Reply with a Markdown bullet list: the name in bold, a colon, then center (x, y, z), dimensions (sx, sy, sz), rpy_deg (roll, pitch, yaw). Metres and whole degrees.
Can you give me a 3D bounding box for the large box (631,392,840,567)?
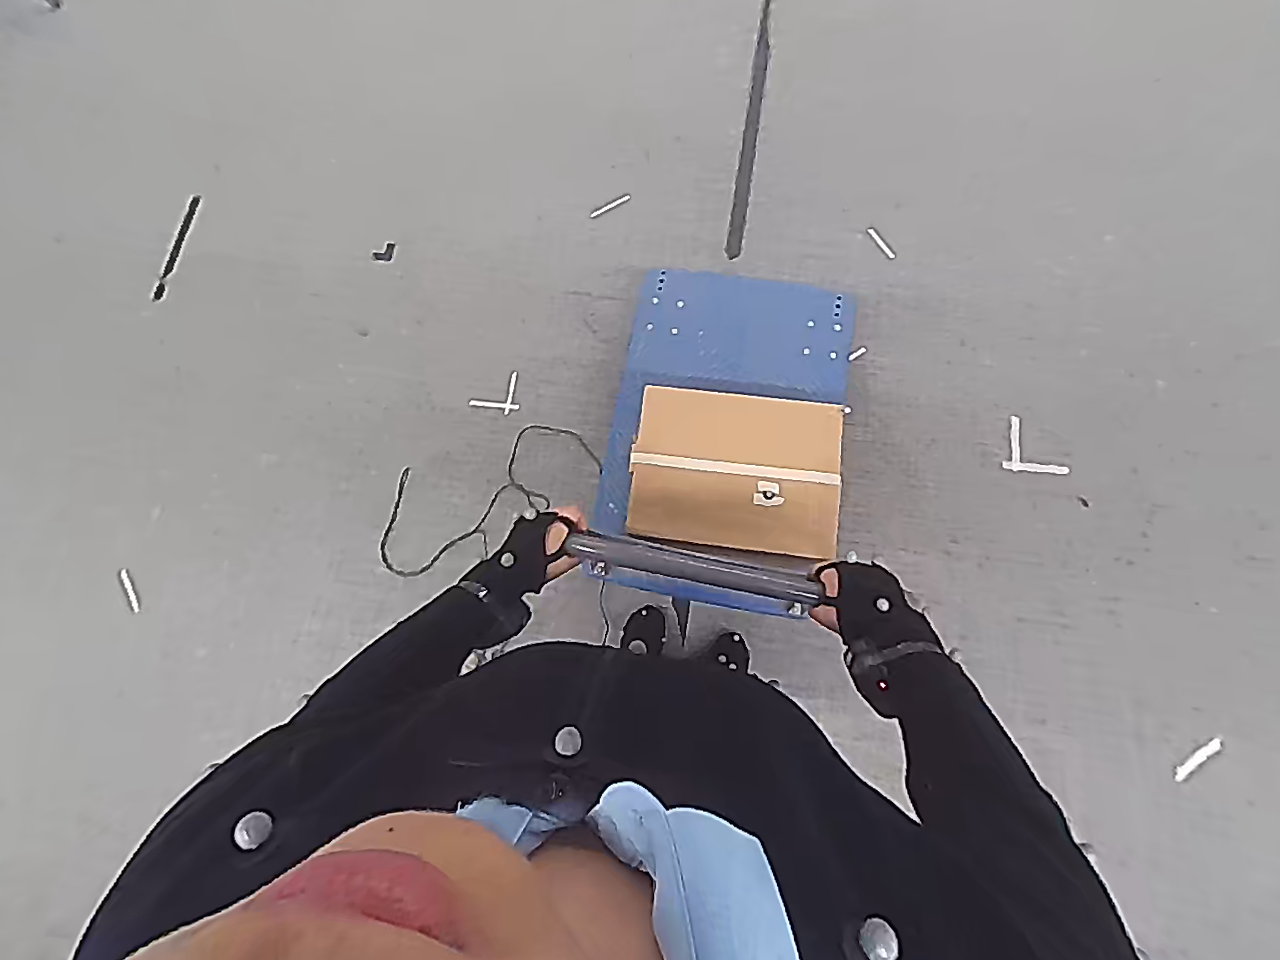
- **large box**: center (0.197, 0.016, 1.222), dimensions (0.408, 0.320, 0.320), rpy_deg (7, 79, 4)
